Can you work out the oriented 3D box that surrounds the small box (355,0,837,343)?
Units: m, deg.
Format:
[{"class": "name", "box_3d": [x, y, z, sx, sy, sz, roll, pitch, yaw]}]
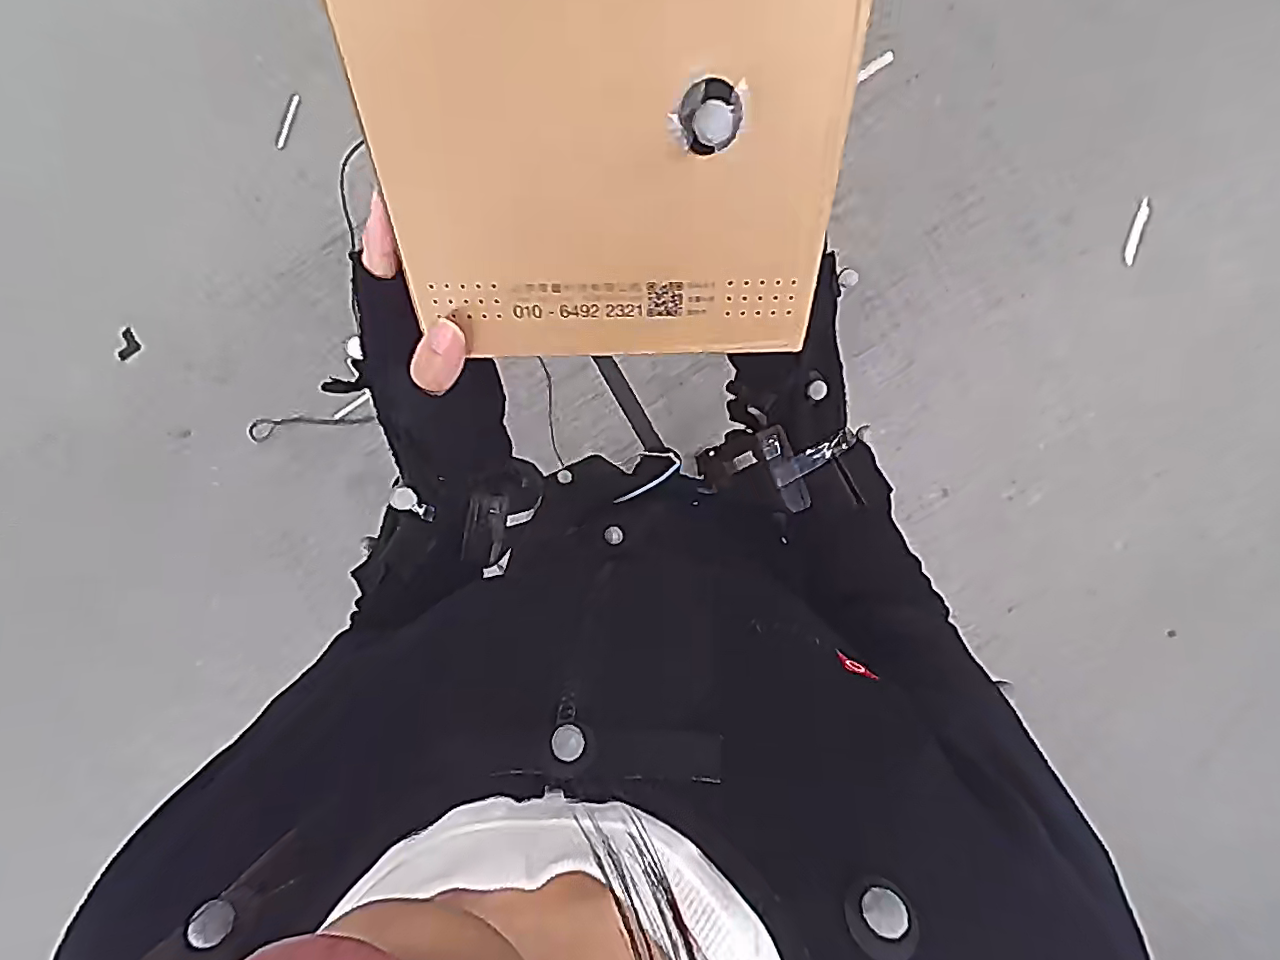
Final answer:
[{"class": "small box", "box_3d": [-0.012, -0.179, 0.268, 0.168, 0.179, 0.176, -1, 131, 0]}]
